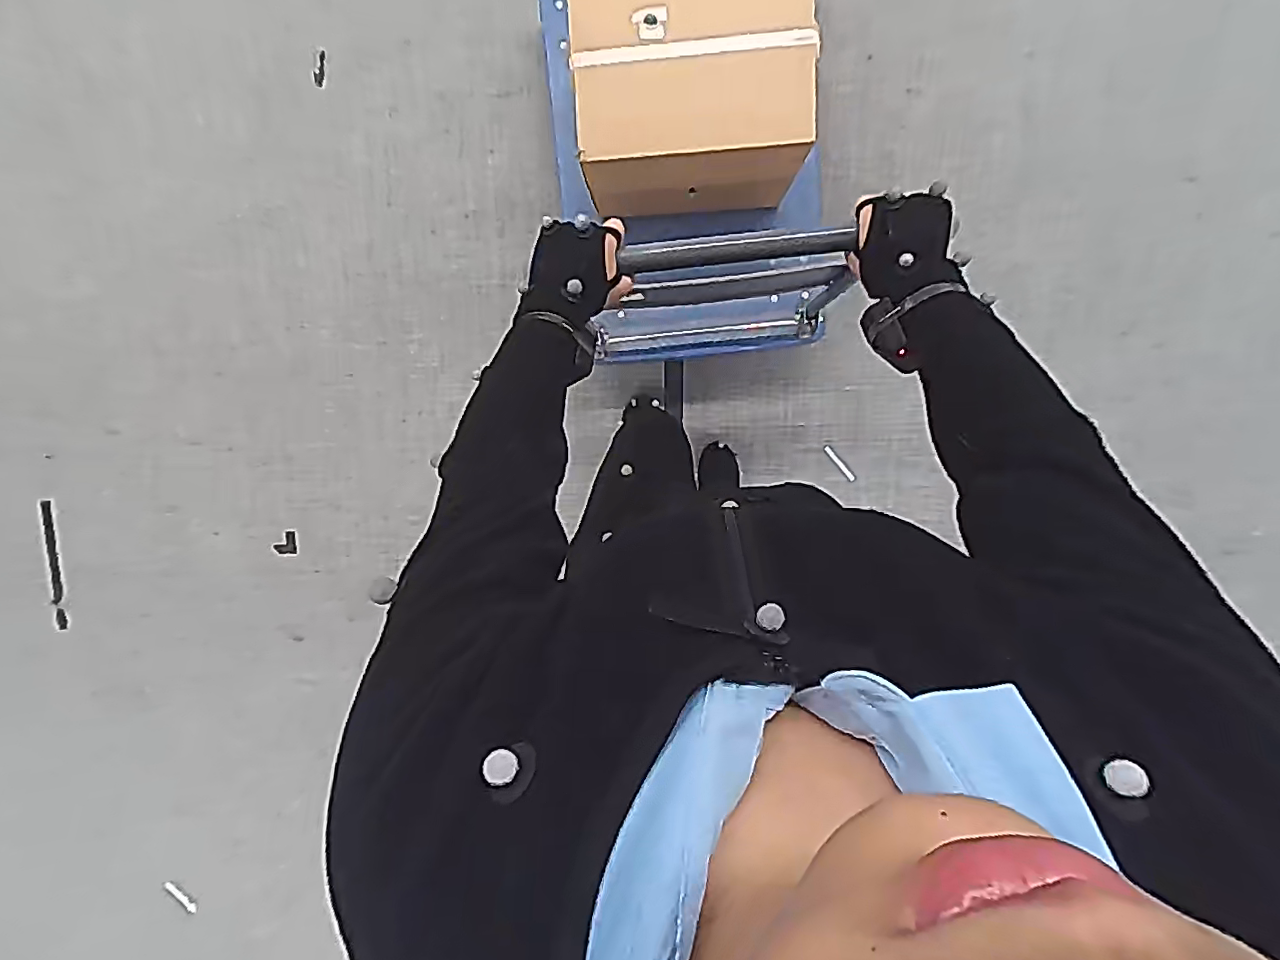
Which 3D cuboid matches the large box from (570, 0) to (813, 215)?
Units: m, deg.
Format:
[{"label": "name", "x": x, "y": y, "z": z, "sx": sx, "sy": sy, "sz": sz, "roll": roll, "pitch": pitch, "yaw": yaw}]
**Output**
[{"label": "large box", "x": 0.097, "y": -0.742, "z": 1.058, "sx": 0.408, "sy": 0.320, "sz": 0.320, "roll": -3, "pitch": 97, "yaw": 4}]
